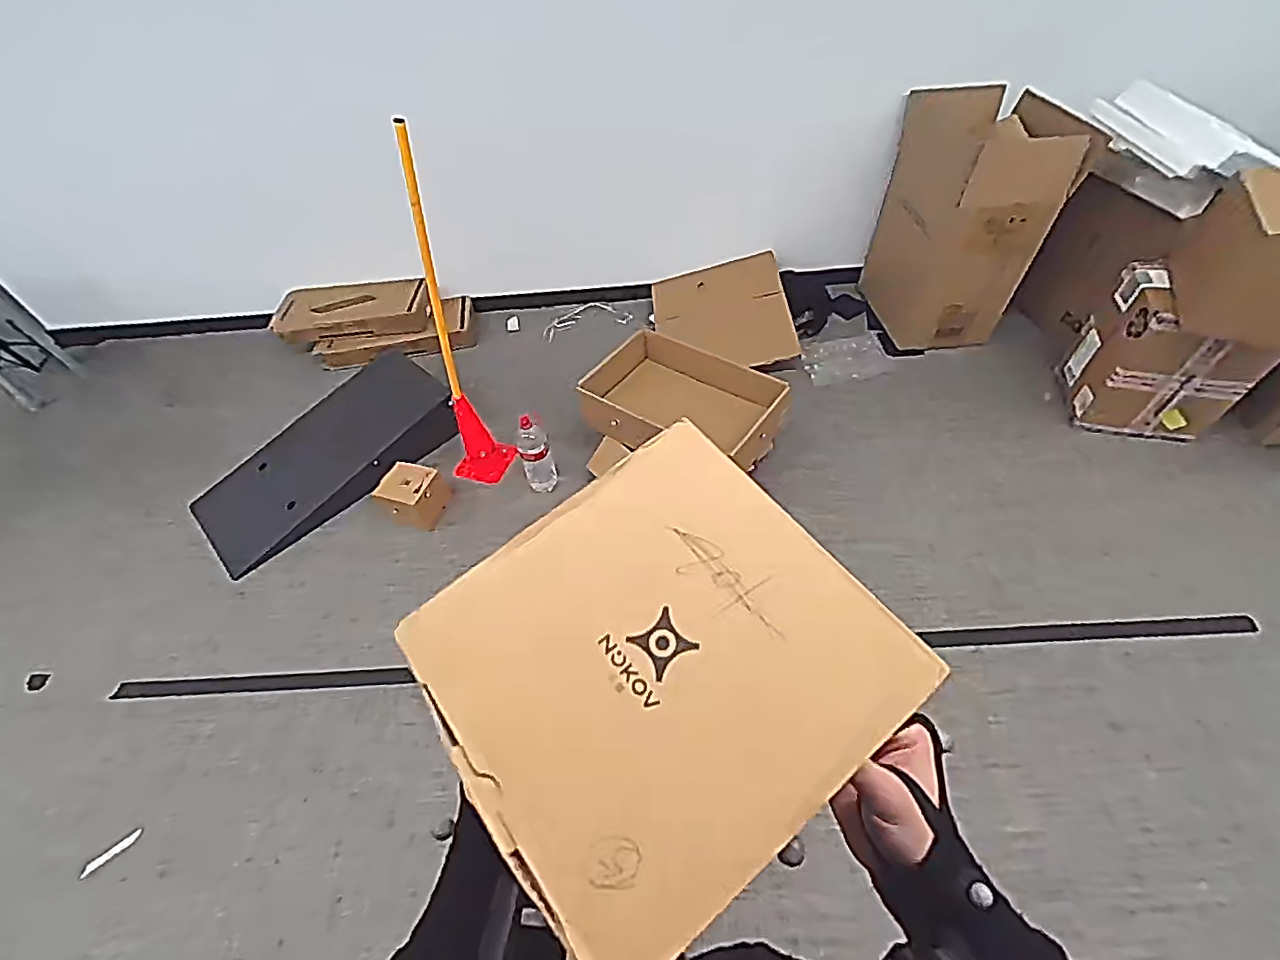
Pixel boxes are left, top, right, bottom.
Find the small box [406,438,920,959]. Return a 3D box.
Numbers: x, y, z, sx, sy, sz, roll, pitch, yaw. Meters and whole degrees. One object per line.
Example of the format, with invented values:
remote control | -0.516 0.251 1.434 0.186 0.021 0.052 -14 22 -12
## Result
small box | 0.011 0.117 0.312 0.179 0.176 0.168 -37 66 -14
